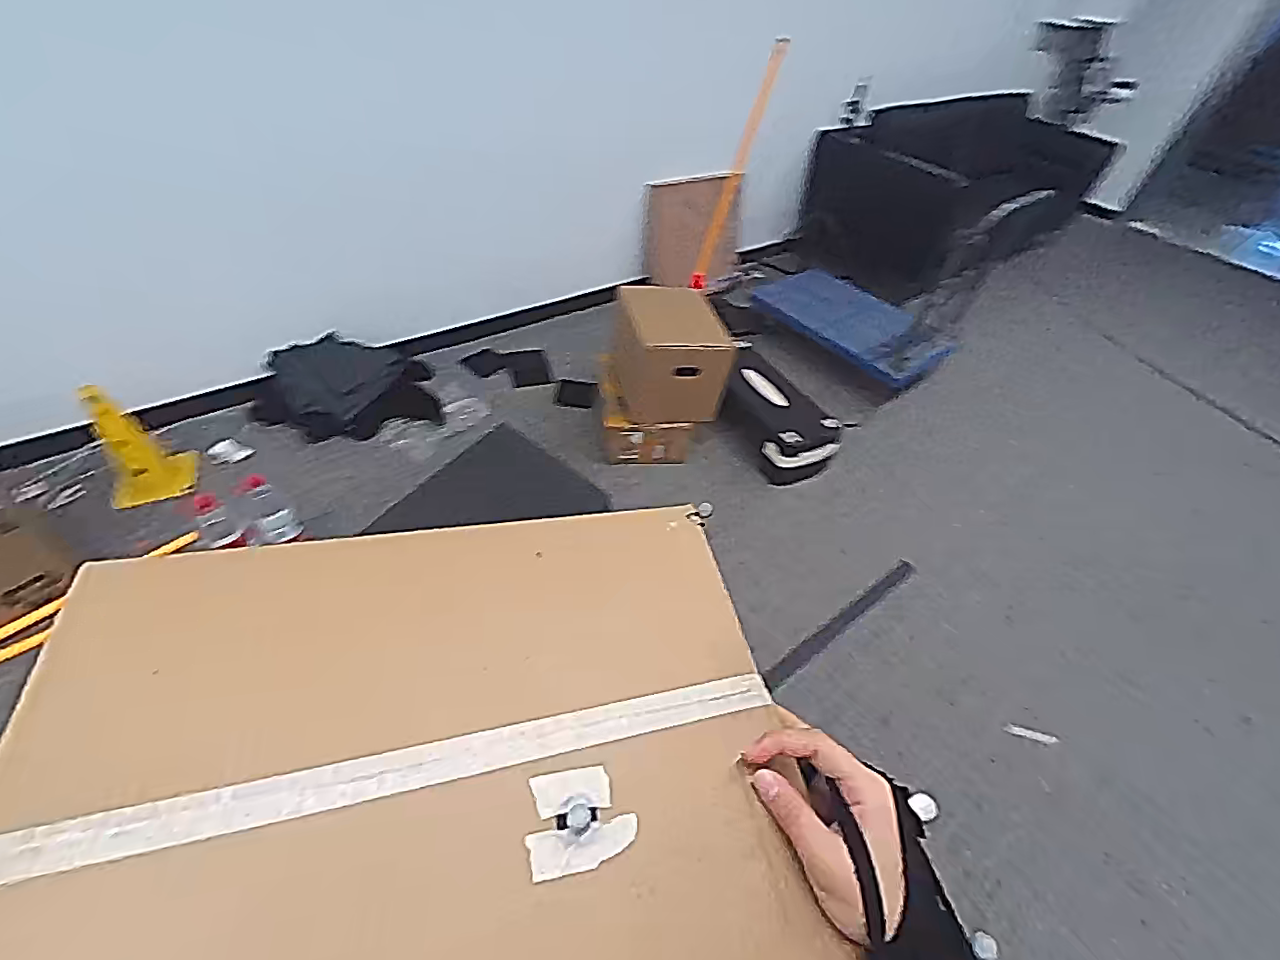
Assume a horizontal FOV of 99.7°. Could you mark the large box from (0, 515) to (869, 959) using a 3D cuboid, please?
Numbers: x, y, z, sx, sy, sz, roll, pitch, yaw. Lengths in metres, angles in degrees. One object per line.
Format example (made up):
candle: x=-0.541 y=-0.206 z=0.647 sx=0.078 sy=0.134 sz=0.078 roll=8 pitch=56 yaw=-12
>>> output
large box: x=-0.131 y=0.253 z=0.421 sx=0.408 sy=0.320 sz=0.320 roll=-3 pitch=52 yaw=-18
